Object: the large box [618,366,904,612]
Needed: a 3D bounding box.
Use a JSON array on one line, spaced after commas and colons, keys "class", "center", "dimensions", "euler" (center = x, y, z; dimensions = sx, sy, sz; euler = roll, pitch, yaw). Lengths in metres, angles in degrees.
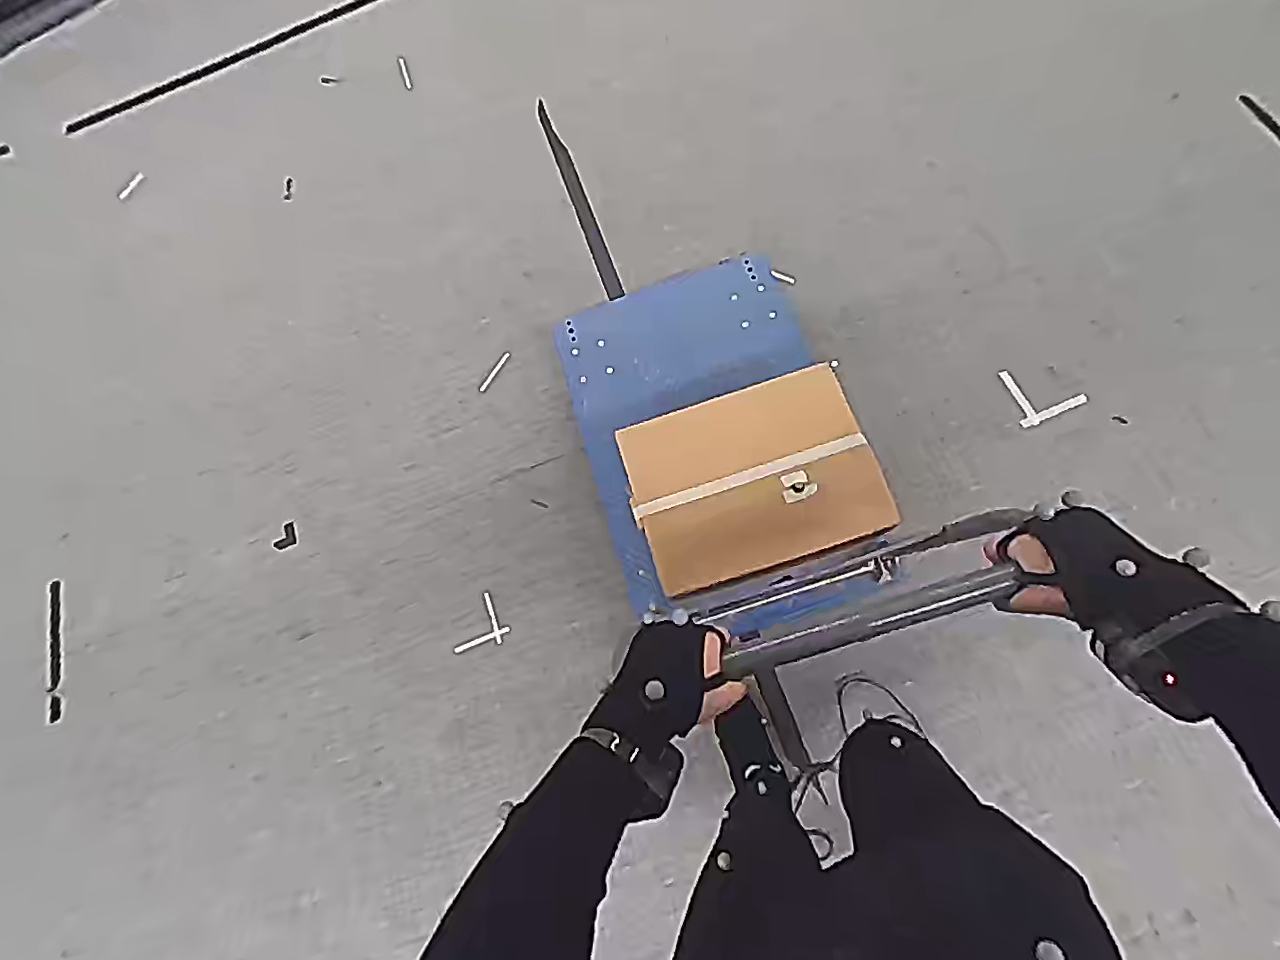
[{"class": "large box", "center": [0.208, 0.041, 1.049], "dimensions": [0.408, 0.320, 0.320], "euler": [-18, 73, 1]}]
